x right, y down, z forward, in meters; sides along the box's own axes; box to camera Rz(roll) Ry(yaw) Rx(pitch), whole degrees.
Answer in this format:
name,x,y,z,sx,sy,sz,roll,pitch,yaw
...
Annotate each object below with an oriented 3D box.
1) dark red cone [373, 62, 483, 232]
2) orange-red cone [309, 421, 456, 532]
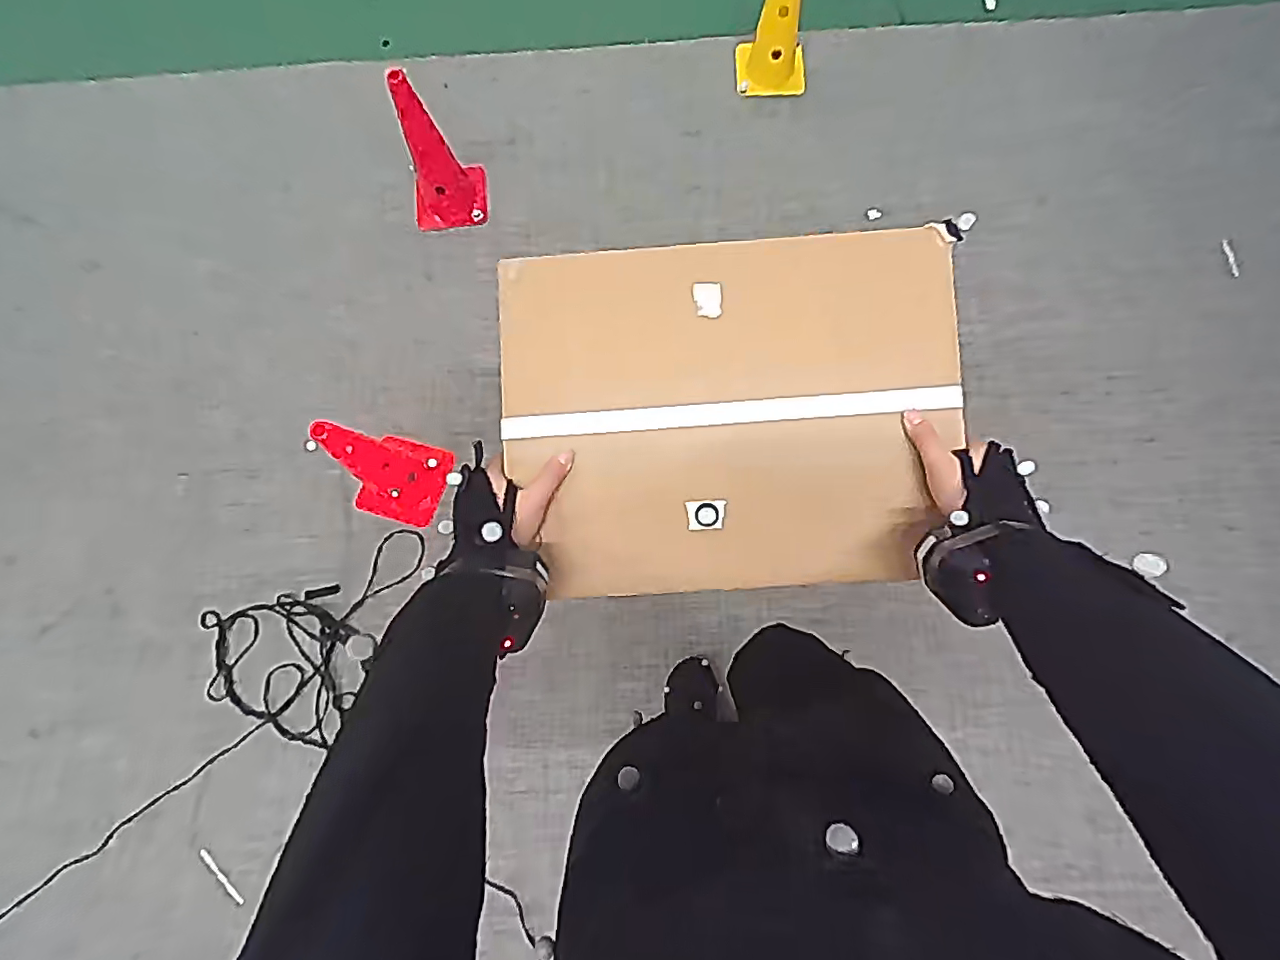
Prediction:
name,x,y,z,sx,sy,sz,roll,pitch,yaw
dark red cone,-0.553,-0.845,1.374,0.202,0.394,0.201,-10,70,0
orange-red cone,-0.581,-0.038,1.159,0.199,0.360,0.198,16,74,9
